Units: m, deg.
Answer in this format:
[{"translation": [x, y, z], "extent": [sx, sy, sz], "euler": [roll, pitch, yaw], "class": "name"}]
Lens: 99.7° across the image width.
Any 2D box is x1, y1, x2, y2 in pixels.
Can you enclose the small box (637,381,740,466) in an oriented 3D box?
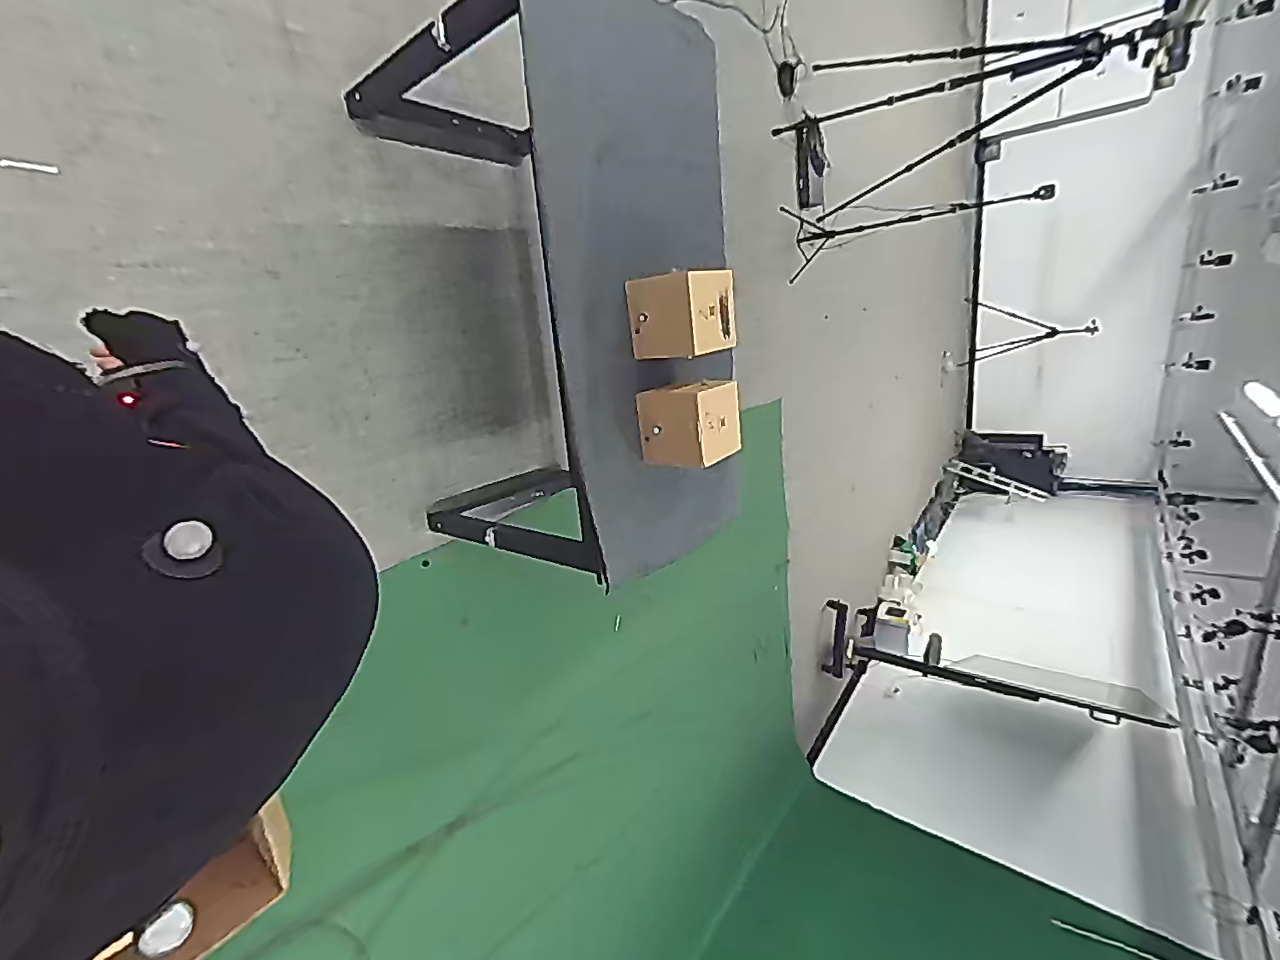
[{"translation": [0.114, -0.138, 1.256], "extent": [0.179, 0.176, 0.168], "euler": [-25, 113, -47], "class": "small box"}]
